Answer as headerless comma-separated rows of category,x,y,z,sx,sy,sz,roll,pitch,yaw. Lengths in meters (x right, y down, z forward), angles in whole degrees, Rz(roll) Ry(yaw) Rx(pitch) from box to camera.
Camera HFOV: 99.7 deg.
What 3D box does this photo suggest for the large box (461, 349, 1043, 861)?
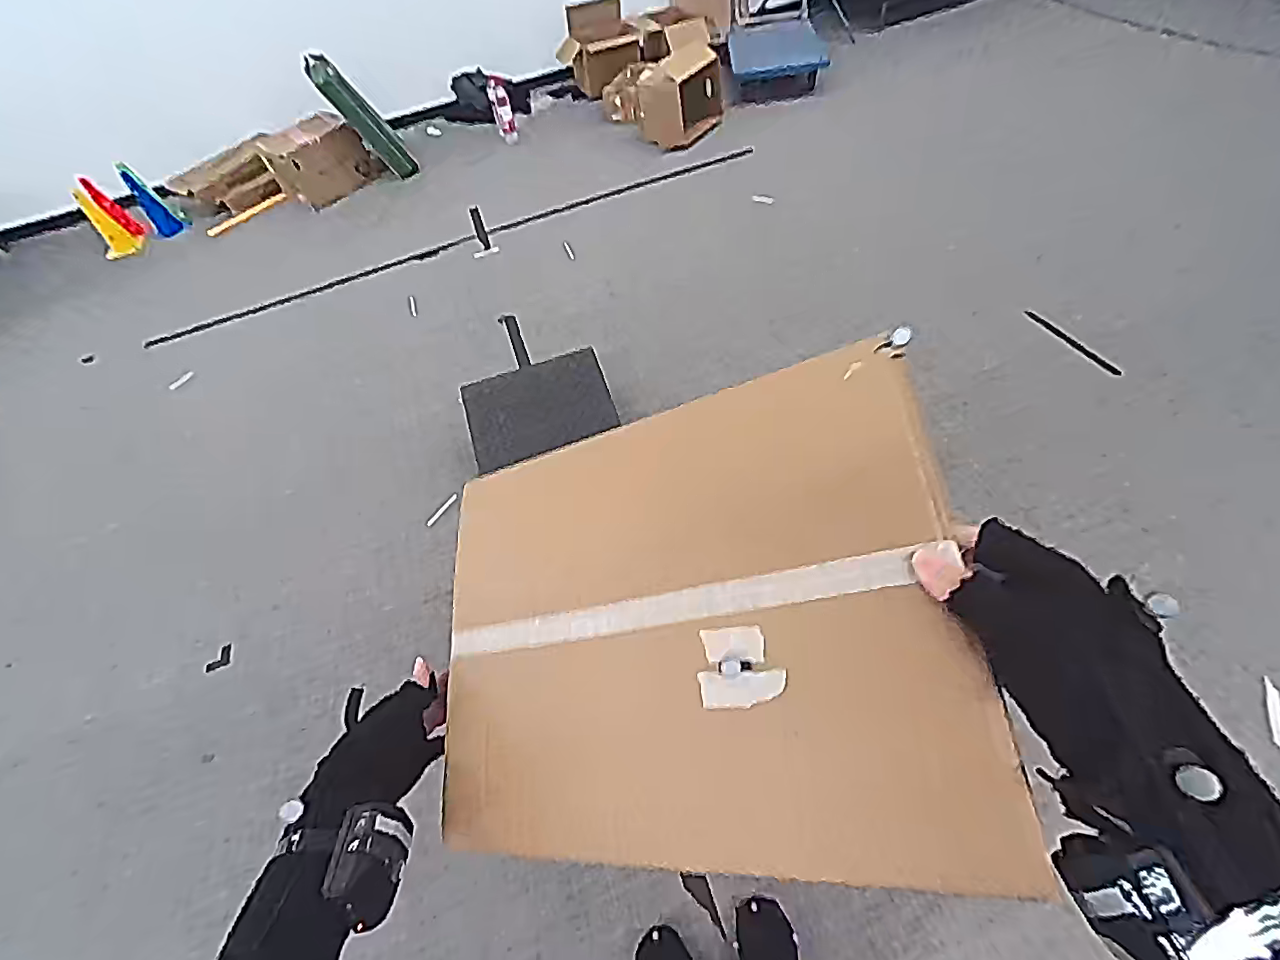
large box,0.088,0.146,0.526,0.408,0.320,0.320,-18,65,26
